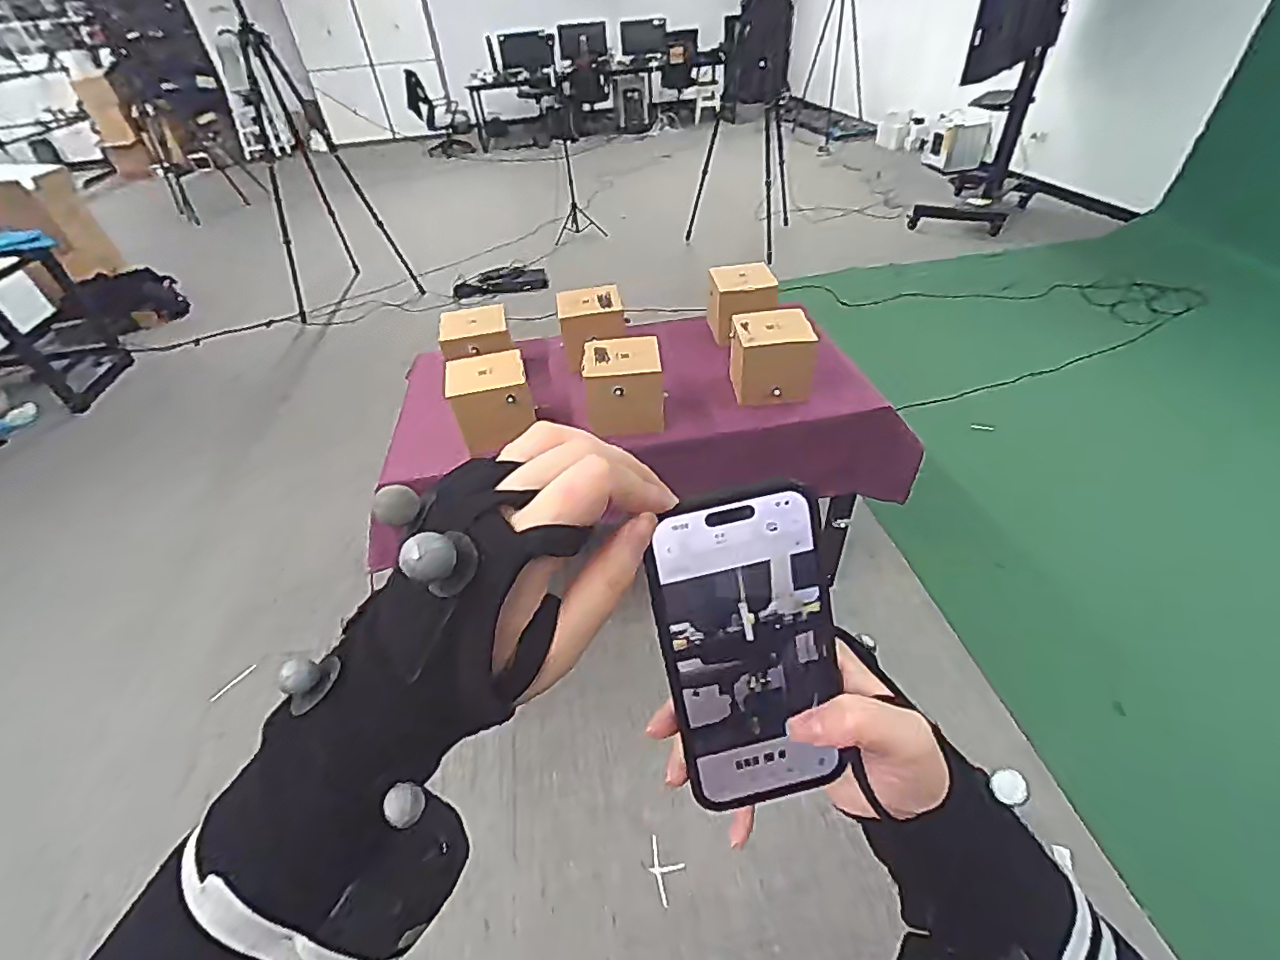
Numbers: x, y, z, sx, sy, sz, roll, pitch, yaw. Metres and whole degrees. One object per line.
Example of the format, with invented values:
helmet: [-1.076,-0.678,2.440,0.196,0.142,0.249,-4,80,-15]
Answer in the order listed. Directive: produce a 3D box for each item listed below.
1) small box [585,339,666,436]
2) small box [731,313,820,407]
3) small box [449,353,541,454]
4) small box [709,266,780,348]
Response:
small box: [-0.032,-0.218,1.296,0.179,0.176,0.168,-4,42,0]
small box: [0.327,-0.296,1.345,0.179,0.176,0.168,-4,42,1]
small box: [-0.343,-0.179,1.288,0.179,0.176,0.168,-12,42,-9]
small box: [0.297,-0.505,1.578,0.168,0.176,0.179,-7,43,-1]
